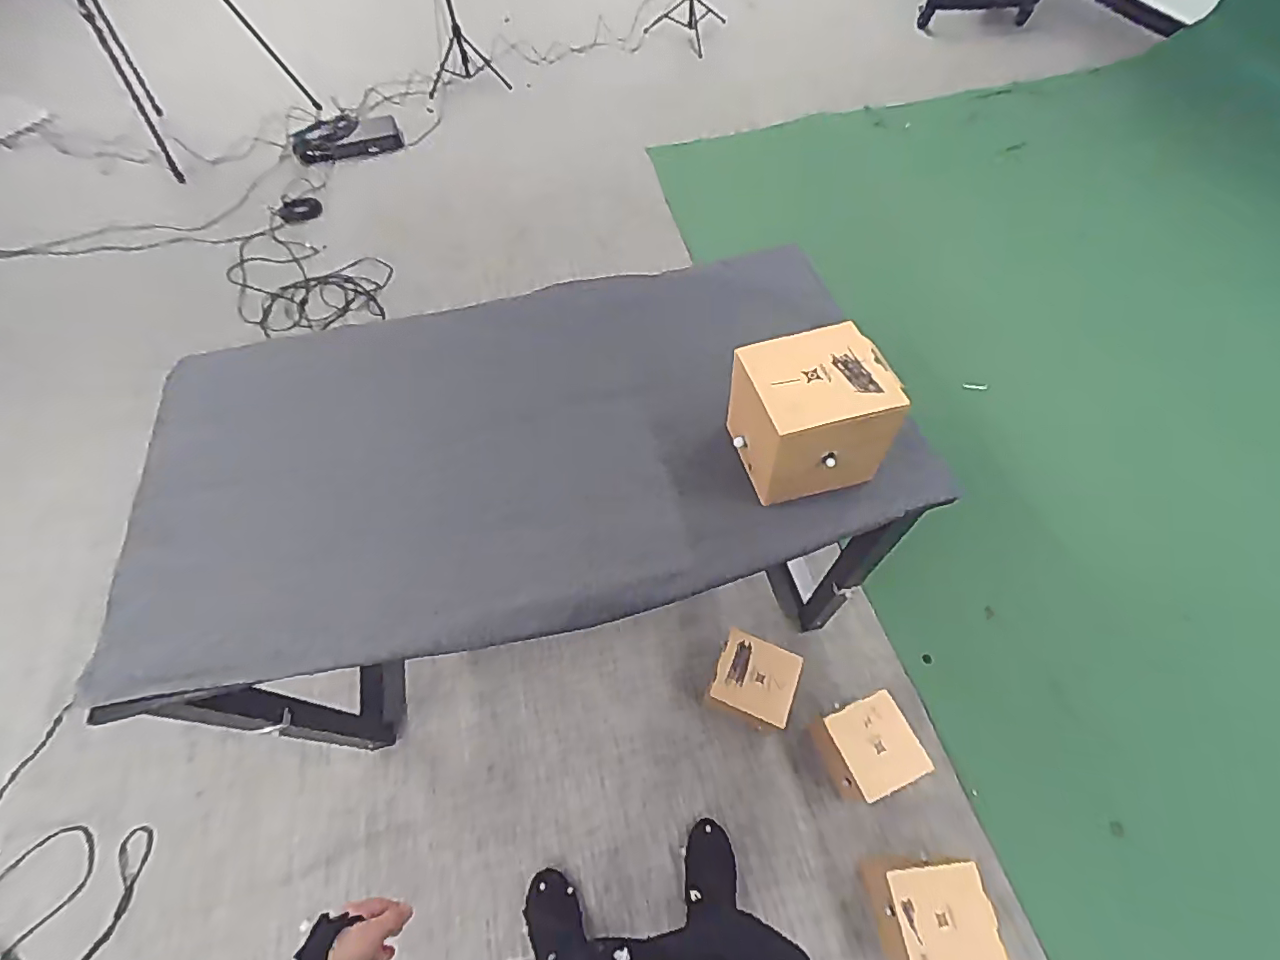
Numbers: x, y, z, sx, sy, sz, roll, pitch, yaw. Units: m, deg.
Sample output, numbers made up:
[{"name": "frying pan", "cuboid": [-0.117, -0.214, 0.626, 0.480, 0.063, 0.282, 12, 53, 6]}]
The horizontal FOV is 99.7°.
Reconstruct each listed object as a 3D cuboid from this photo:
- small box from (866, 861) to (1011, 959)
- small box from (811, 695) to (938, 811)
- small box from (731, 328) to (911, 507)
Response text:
[{"name": "small box", "cuboid": [0.568, 0.852, 1.047, 0.179, 0.176, 0.168, -6, 60, 0]}, {"name": "small box", "cuboid": [0.508, 0.604, 1.198, 0.168, 0.176, 0.179, -20, 60, -9]}, {"name": "small box", "cuboid": [0.240, -0.084, 0.770, 0.179, 0.176, 0.168, -14, 55, -4]}]
